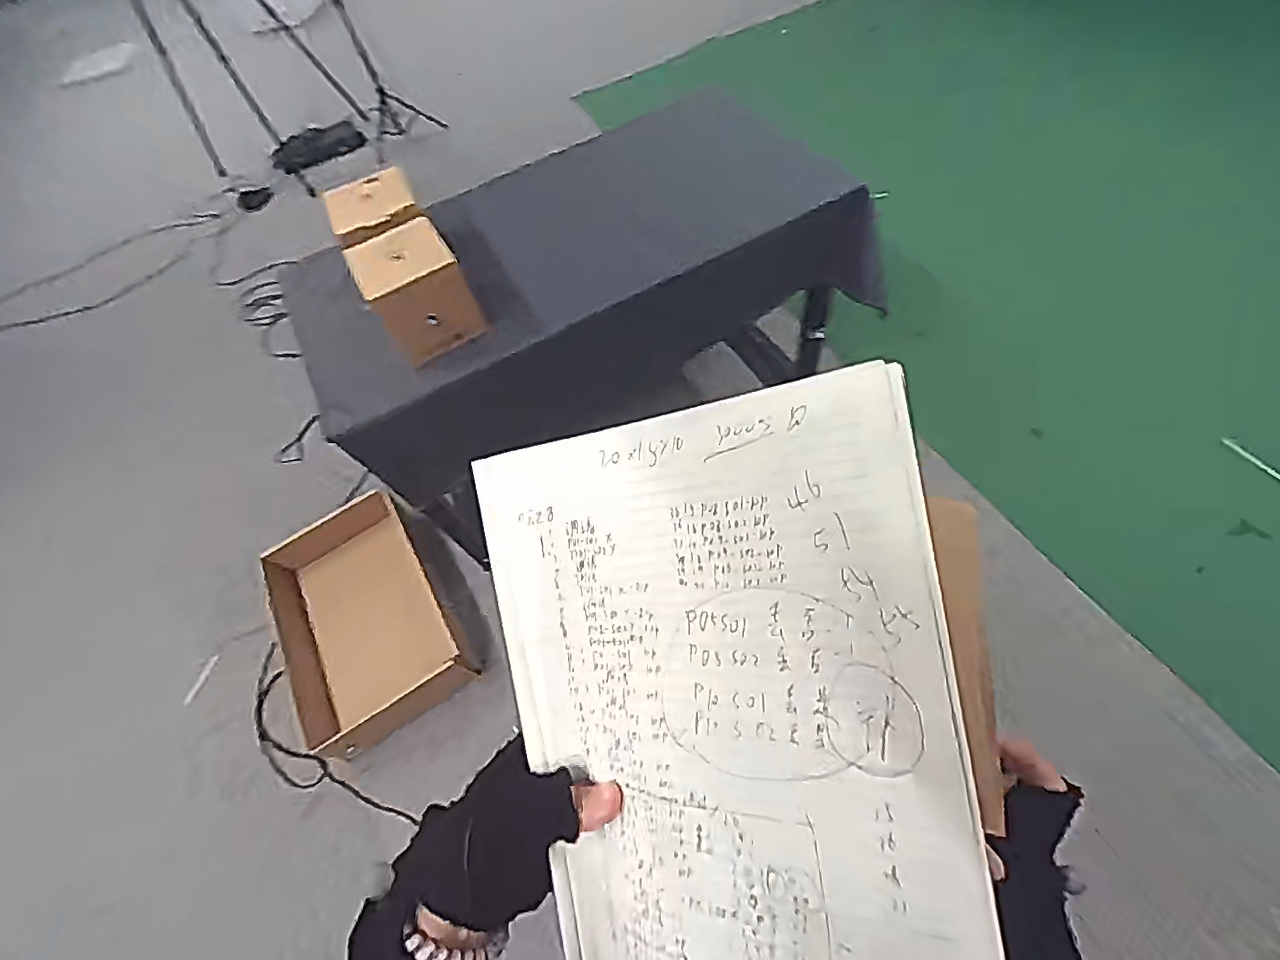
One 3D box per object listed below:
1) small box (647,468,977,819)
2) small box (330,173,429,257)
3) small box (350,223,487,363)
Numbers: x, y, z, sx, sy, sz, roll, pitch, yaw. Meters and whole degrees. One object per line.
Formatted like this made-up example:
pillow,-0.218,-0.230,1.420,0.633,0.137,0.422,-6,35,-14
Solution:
small box,0.104,0.112,0.379,0.168,0.176,0.179,6,66,9
small box,-0.529,-0.512,1.163,0.168,0.176,0.179,-26,59,-8
small box,-0.420,-0.351,1.044,0.168,0.176,0.179,-29,58,-10
